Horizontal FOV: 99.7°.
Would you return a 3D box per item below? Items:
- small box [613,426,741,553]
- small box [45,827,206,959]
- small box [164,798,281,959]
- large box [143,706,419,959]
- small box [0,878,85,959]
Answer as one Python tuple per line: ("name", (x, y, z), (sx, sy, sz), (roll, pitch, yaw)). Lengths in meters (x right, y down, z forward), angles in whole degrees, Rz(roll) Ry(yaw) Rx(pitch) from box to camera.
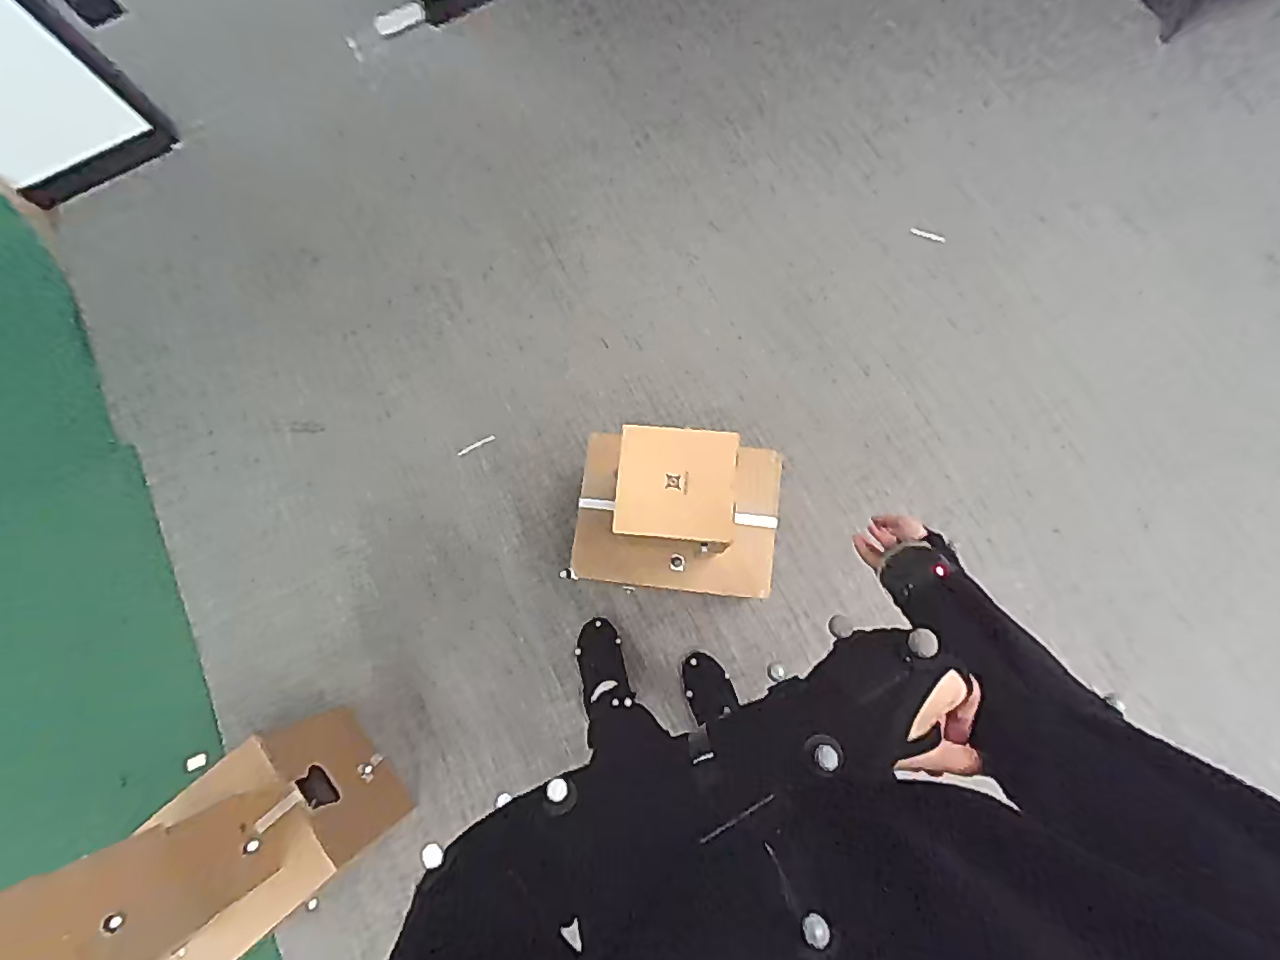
("small box", (0.060, 0.022, 0.861), (0.179, 0.176, 0.168), (4, 77, 4))
("small box", (-0.781, 0.650, 0.772), (0.168, 0.176, 0.179), (-36, 78, -5))
("small box", (-0.776, 0.696, 0.930), (0.179, 0.176, 0.168), (-37, 79, -5))
("large box", (-0.780, 0.770, 1.164), (0.408, 0.320, 0.320), (-41, 76, -5))
("small box", (-0.797, 0.614, 0.612), (0.168, 0.176, 0.179), (-37, 79, -5))
